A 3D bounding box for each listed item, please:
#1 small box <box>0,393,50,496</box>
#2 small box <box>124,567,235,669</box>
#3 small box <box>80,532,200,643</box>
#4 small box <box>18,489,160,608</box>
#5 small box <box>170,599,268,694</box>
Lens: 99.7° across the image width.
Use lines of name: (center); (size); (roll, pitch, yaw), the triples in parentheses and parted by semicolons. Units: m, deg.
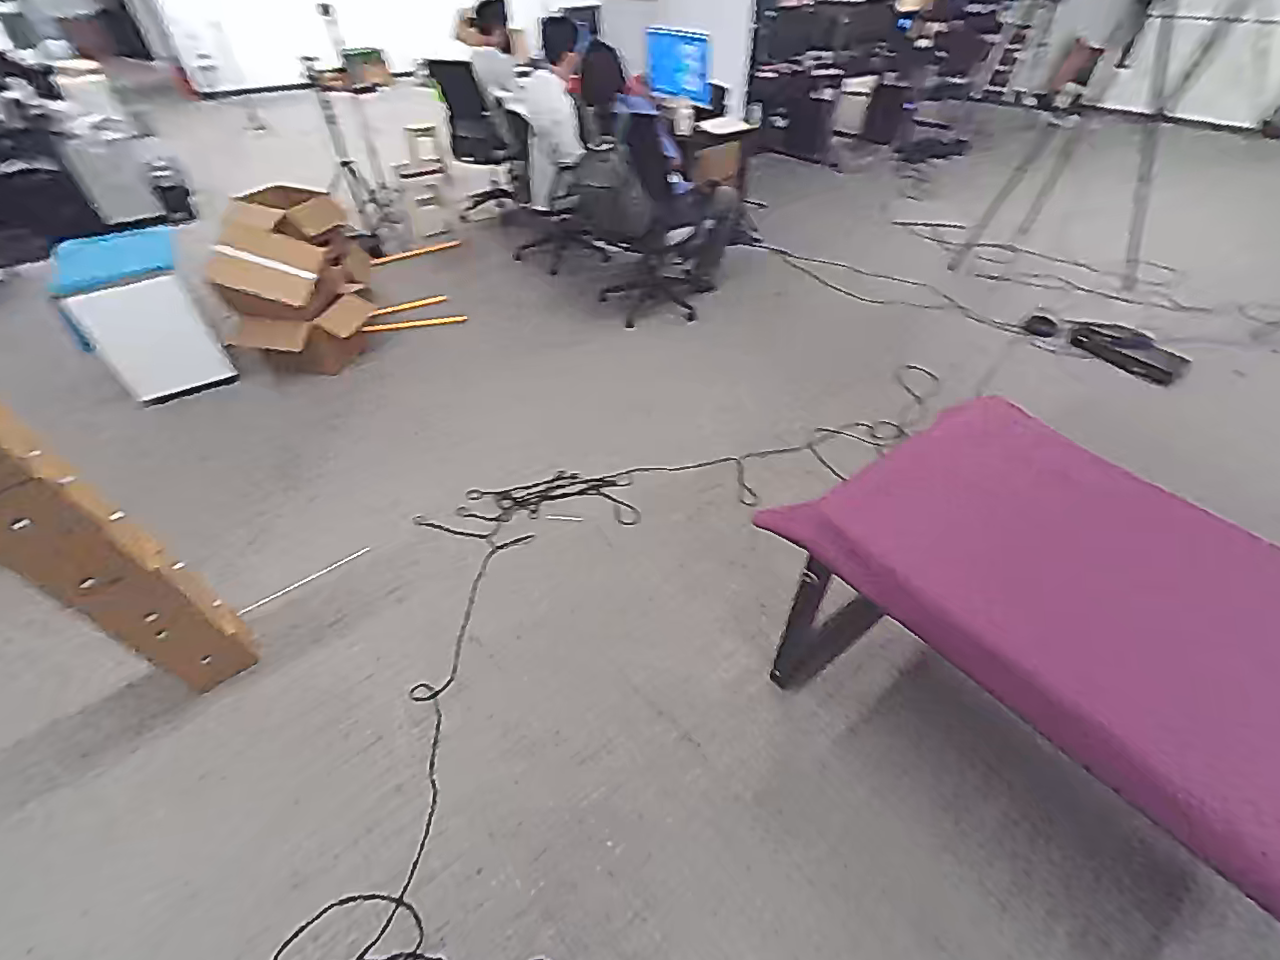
small box: (-1.264, -0.065, 1.006); (0.179, 0.176, 0.168); (-31, 52, -24)
small box: (-1.264, 0.382, 1.484); (0.179, 0.176, 0.168); (-29, 51, -26)
small box: (-1.255, 0.271, 1.364); (0.179, 0.176, 0.168); (-31, 51, -27)
small box: (-1.261, 0.159, 1.246); (0.168, 0.176, 0.179); (-32, 53, -27)
small box: (-1.251, 0.496, 1.601); (0.179, 0.176, 0.168); (-29, 50, -26)
